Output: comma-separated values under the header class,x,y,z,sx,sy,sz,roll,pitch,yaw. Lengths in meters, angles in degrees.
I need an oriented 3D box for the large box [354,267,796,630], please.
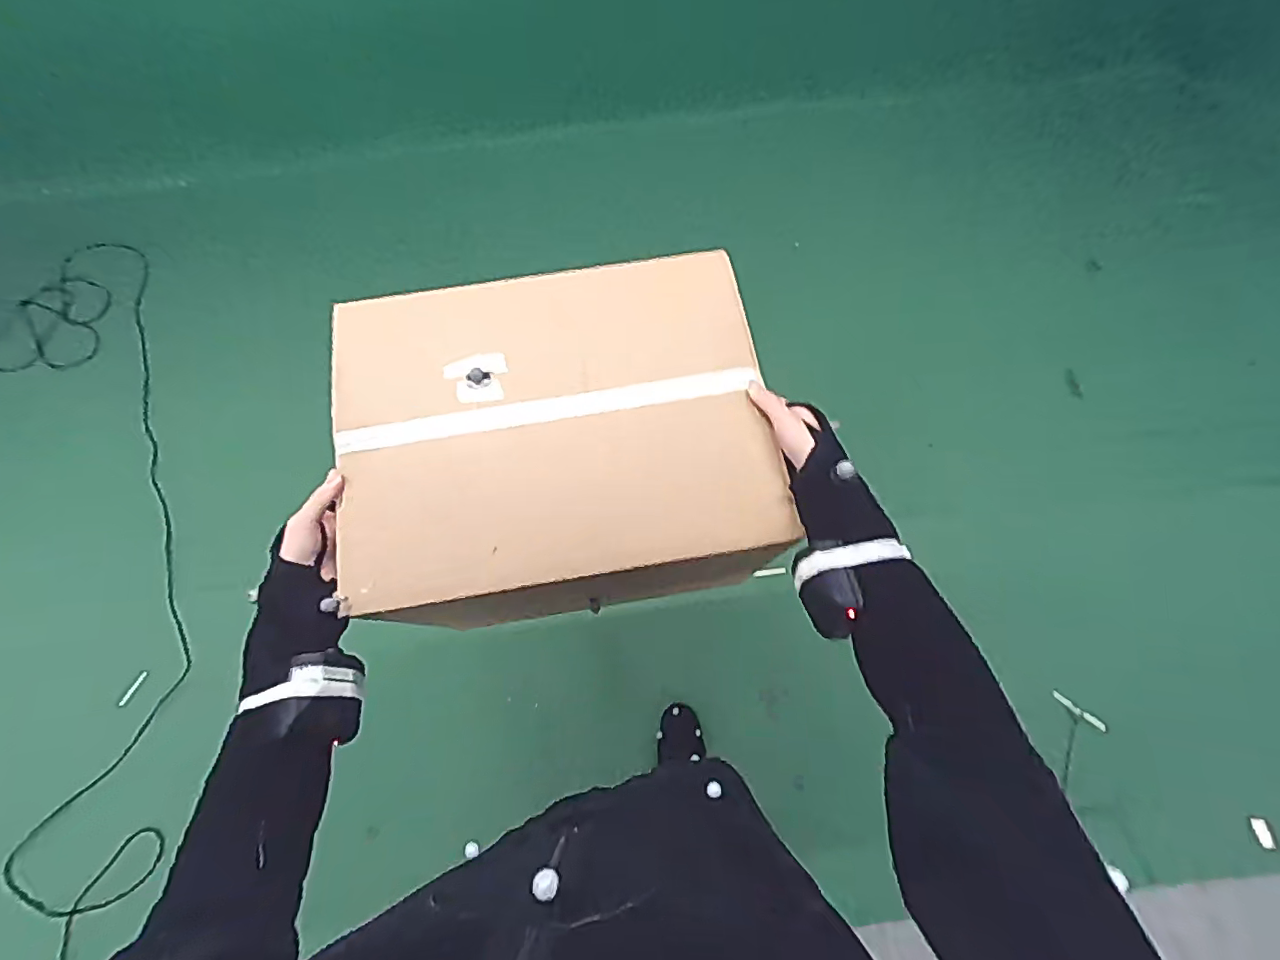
class,x,y,z,sx,sy,sz,roll,pitch,yaw
large box,-0.074,-0.009,0.668,0.408,0.320,0.320,-9,71,-2
